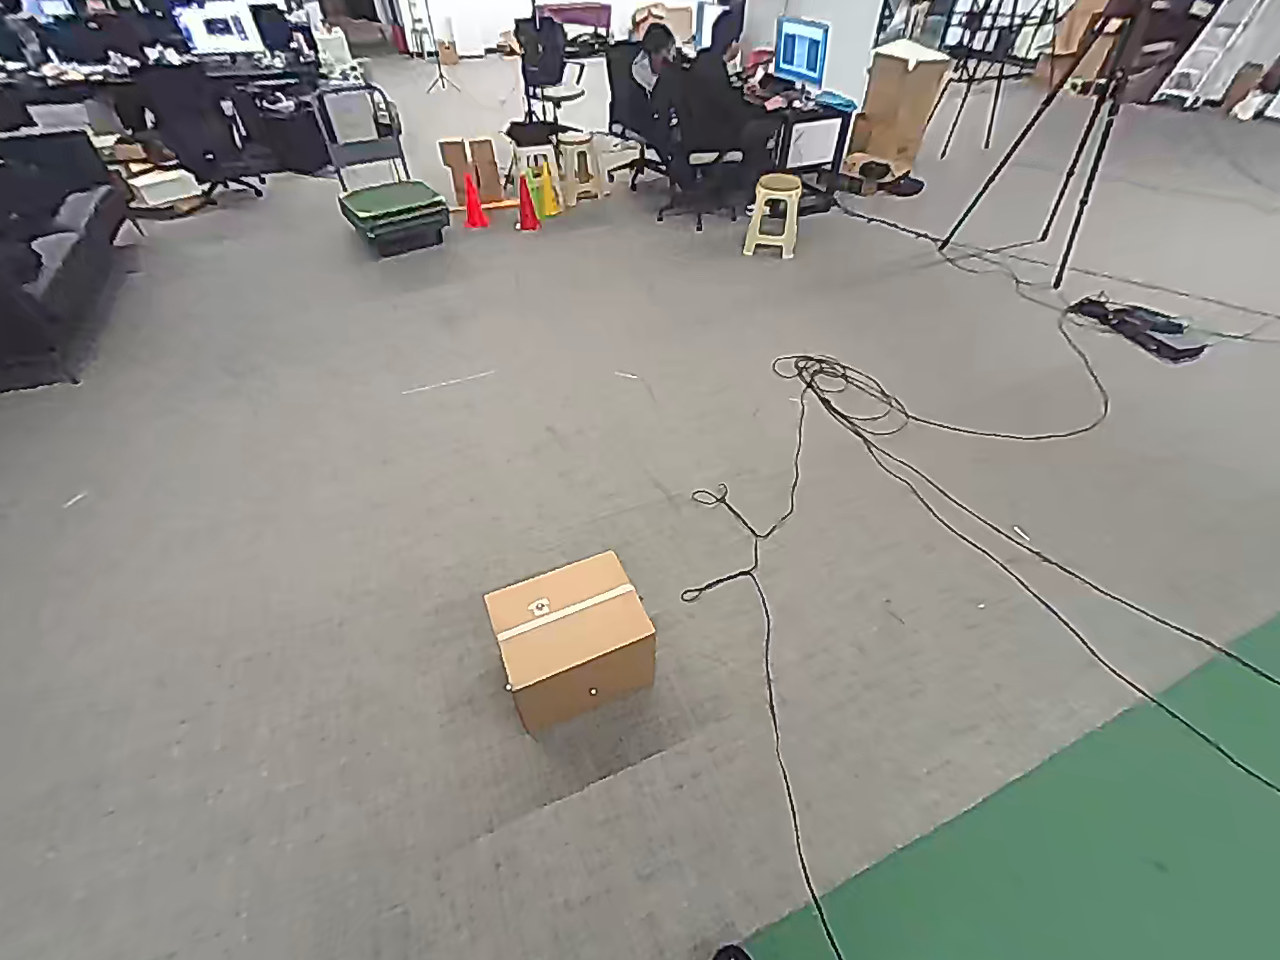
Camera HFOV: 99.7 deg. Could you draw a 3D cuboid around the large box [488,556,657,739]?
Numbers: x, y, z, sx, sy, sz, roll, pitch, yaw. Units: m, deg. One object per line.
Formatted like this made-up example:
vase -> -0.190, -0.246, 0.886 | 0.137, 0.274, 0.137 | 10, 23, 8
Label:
large box -> -0.193, 0.499, 1.626 | 0.408, 0.320, 0.320 | -19, 47, -17
